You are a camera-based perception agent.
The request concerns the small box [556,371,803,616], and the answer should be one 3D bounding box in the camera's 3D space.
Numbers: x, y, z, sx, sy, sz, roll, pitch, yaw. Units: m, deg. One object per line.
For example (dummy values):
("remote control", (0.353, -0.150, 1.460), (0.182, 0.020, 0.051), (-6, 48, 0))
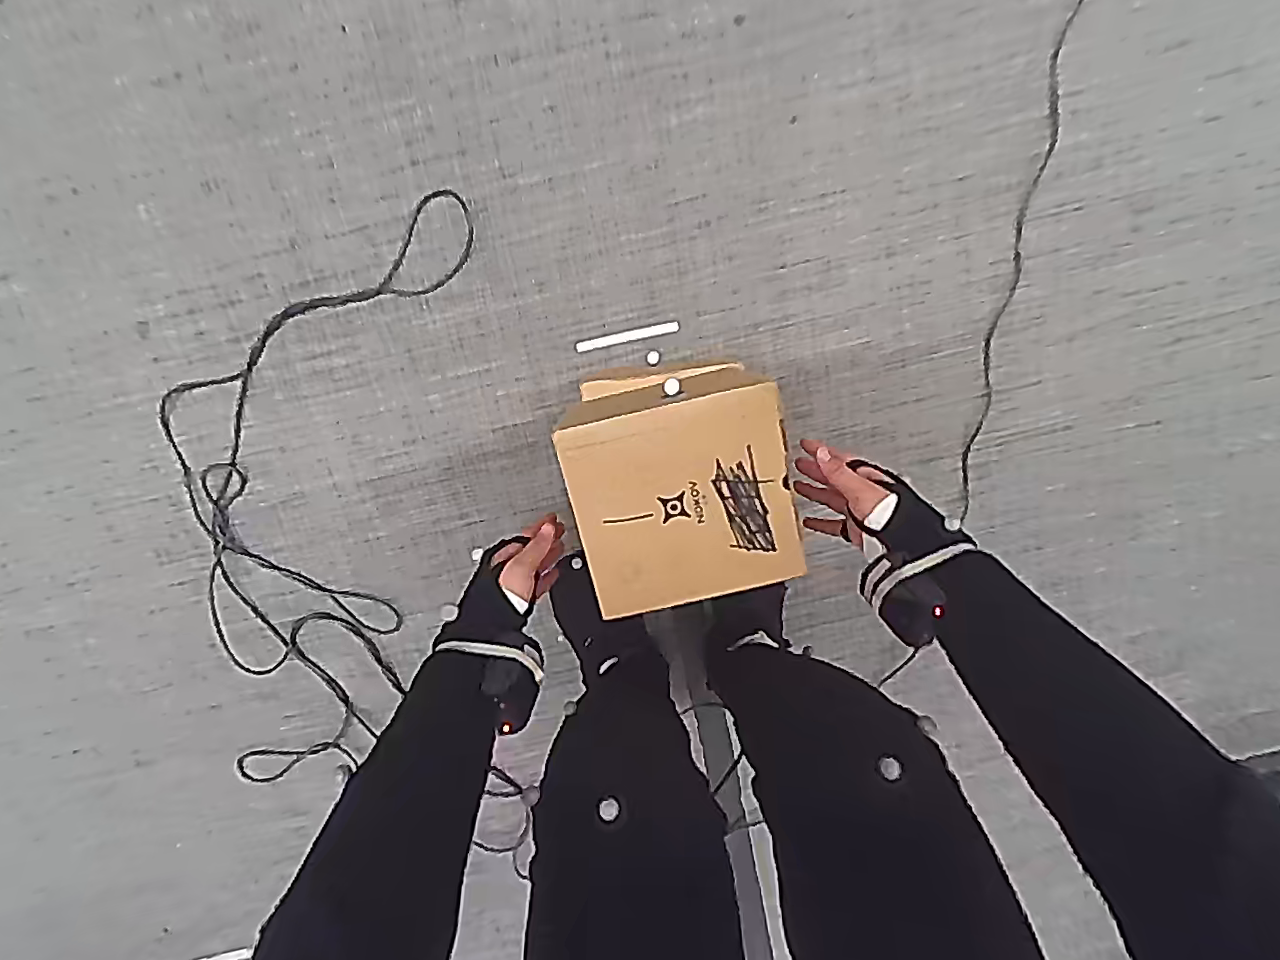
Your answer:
("small box", (0.032, -0.001, 0.508), (0.179, 0.176, 0.168), (-13, 105, 2))
